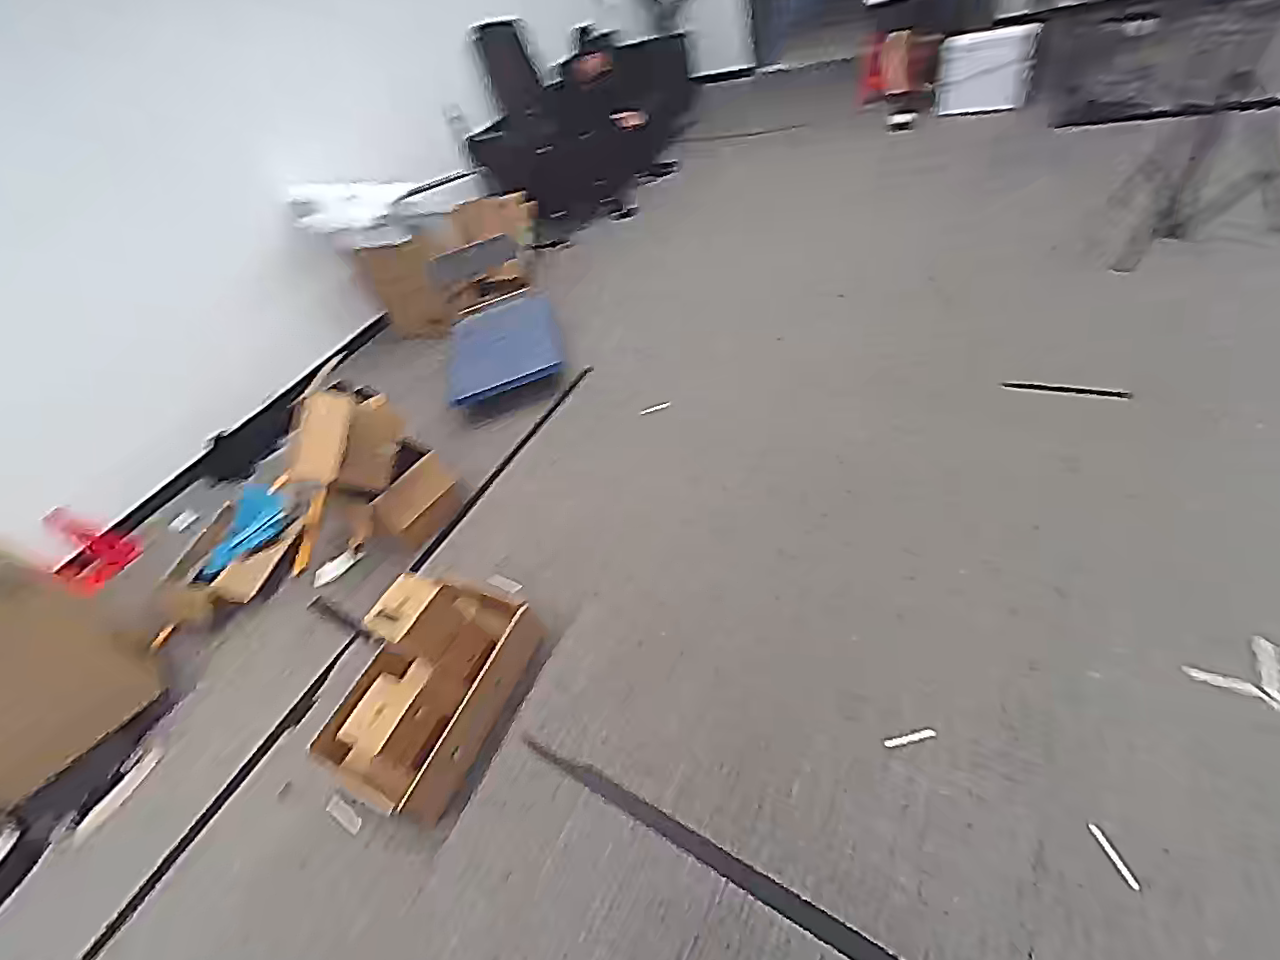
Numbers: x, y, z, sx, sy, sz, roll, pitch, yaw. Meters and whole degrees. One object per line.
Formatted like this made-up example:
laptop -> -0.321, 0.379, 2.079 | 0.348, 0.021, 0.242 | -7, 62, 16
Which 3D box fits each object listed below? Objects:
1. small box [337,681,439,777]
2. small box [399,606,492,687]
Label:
small box -> -0.707, 0.712, 1.547 | 0.168, 0.176, 0.179 | 7, 49, 27
small box -> -0.603, 0.524, 1.692 | 0.179, 0.176, 0.168 | 9, 53, 27
